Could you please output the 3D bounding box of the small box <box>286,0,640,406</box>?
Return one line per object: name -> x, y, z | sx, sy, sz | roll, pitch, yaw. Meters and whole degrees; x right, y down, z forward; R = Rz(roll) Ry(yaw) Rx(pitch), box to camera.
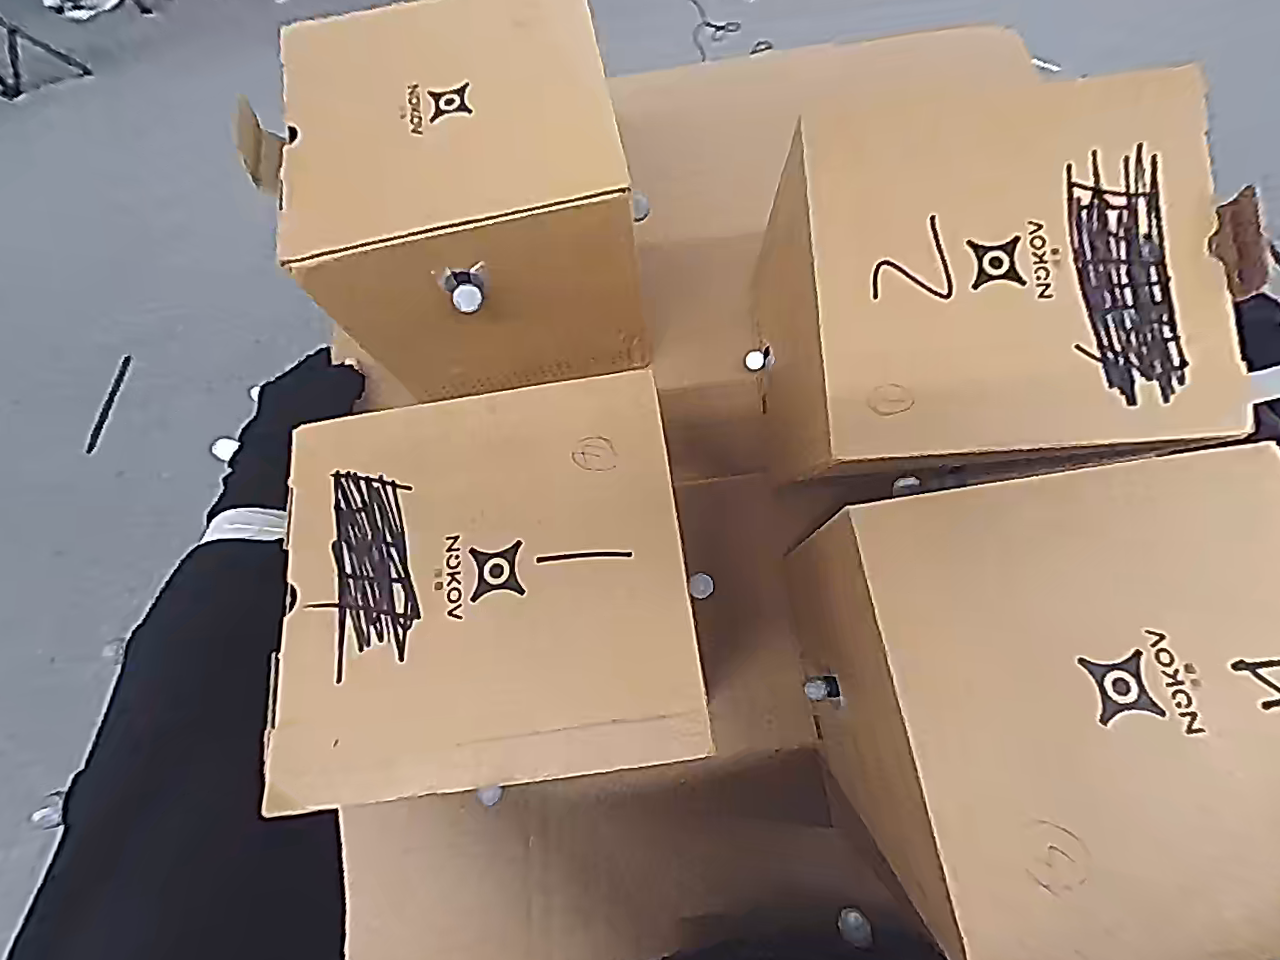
small box -> -0.098, -0.170, 0.367 | 0.179, 0.176, 0.168 | -12, 72, 2
